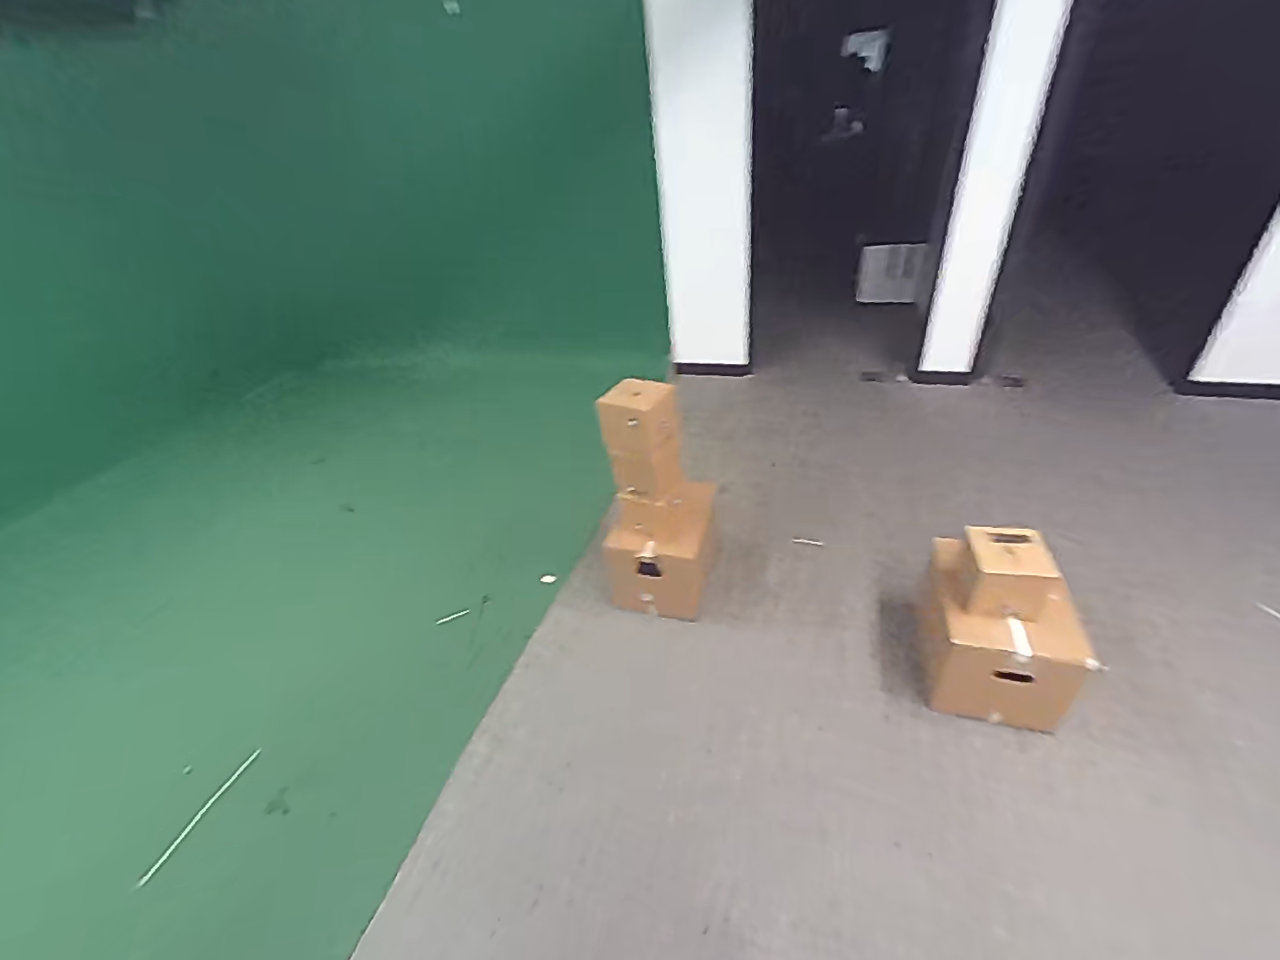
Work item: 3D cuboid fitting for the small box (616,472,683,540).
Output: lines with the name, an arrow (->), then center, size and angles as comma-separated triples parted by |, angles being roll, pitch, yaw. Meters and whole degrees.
small box -> 0.037, 0.071, 1.813 | 0.168, 0.176, 0.179 | 12, 41, 26

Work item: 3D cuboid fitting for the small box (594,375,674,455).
small box -> -0.011, -0.195, 1.629 | 0.179, 0.176, 0.168 | 15, 42, 29

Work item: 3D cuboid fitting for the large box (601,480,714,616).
large box -> 0.084, 0.236, 1.993 | 0.320, 0.320, 0.408 | 5, 37, 17

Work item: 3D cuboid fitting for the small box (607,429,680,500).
small box -> 0.018, -0.065, 1.726 | 0.168, 0.176, 0.179 | 14, 43, 29
